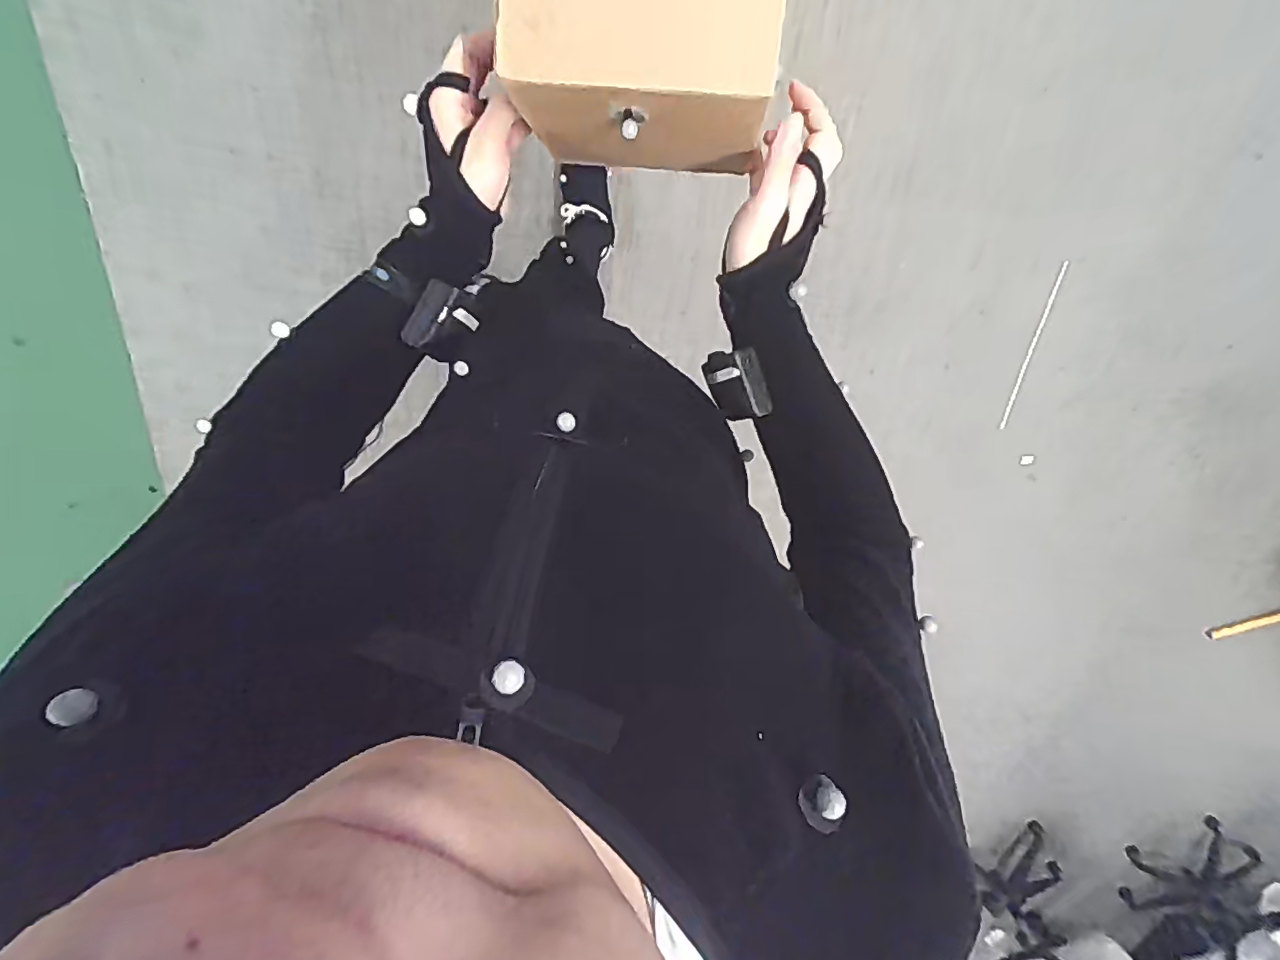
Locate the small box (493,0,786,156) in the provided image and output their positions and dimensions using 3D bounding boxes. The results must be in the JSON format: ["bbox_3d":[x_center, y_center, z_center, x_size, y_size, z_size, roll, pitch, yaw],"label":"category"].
[{"bbox_3d":[0.011,-0.349,0.382,0.179,0.176,0.168,6,105,4],"label":"small box"}]
